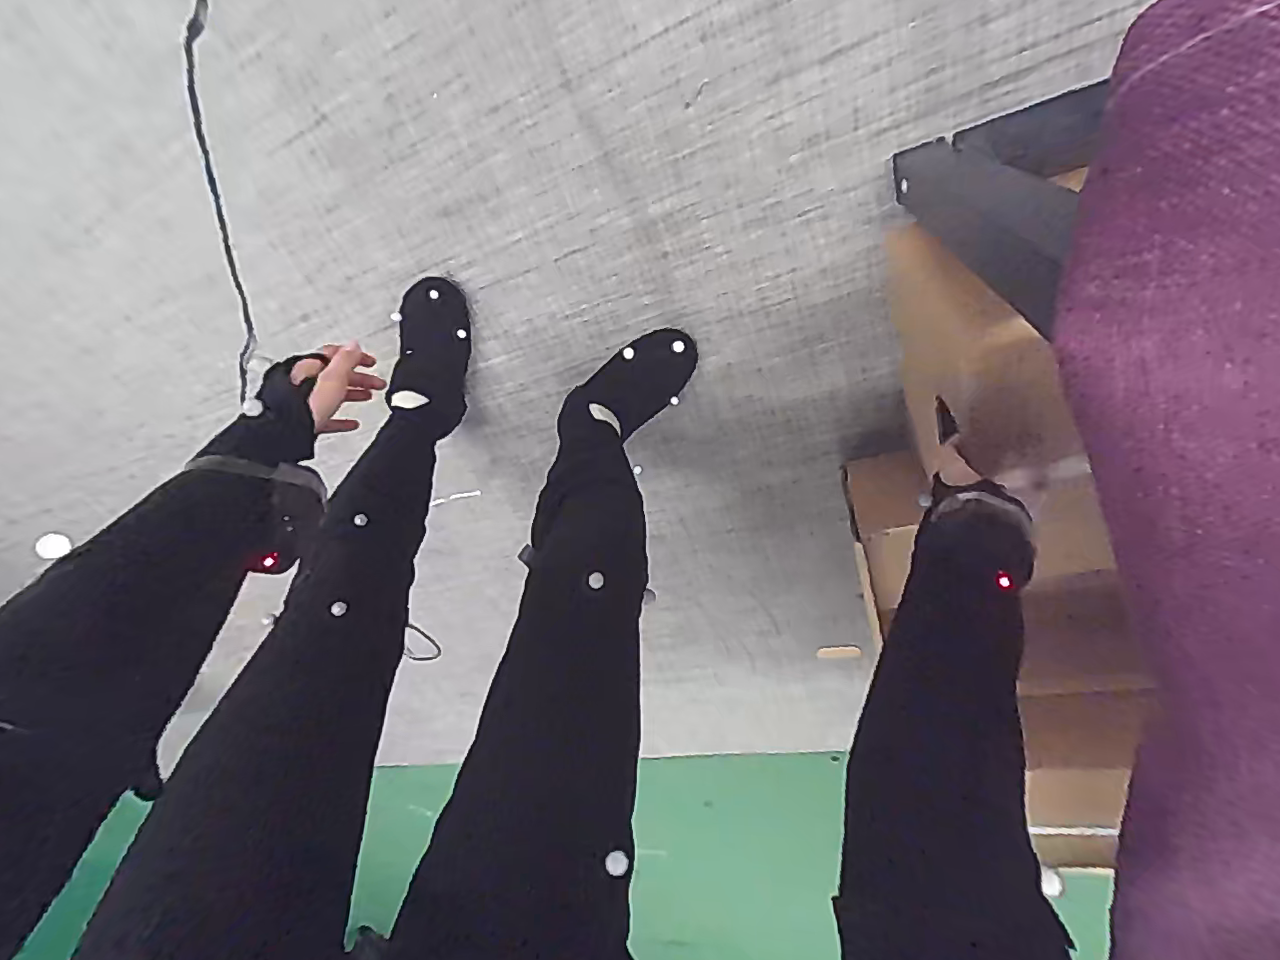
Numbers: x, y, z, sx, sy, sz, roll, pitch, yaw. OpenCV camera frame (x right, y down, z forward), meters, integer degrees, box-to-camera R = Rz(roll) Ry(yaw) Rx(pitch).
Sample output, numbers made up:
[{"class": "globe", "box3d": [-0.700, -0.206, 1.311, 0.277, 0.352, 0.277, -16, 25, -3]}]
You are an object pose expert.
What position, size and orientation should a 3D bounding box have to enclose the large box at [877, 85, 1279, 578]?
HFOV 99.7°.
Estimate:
[{"class": "large box", "box3d": [0.509, -0.144, 0.563, 0.408, 0.320, 0.320, -14, 122, 21]}]
